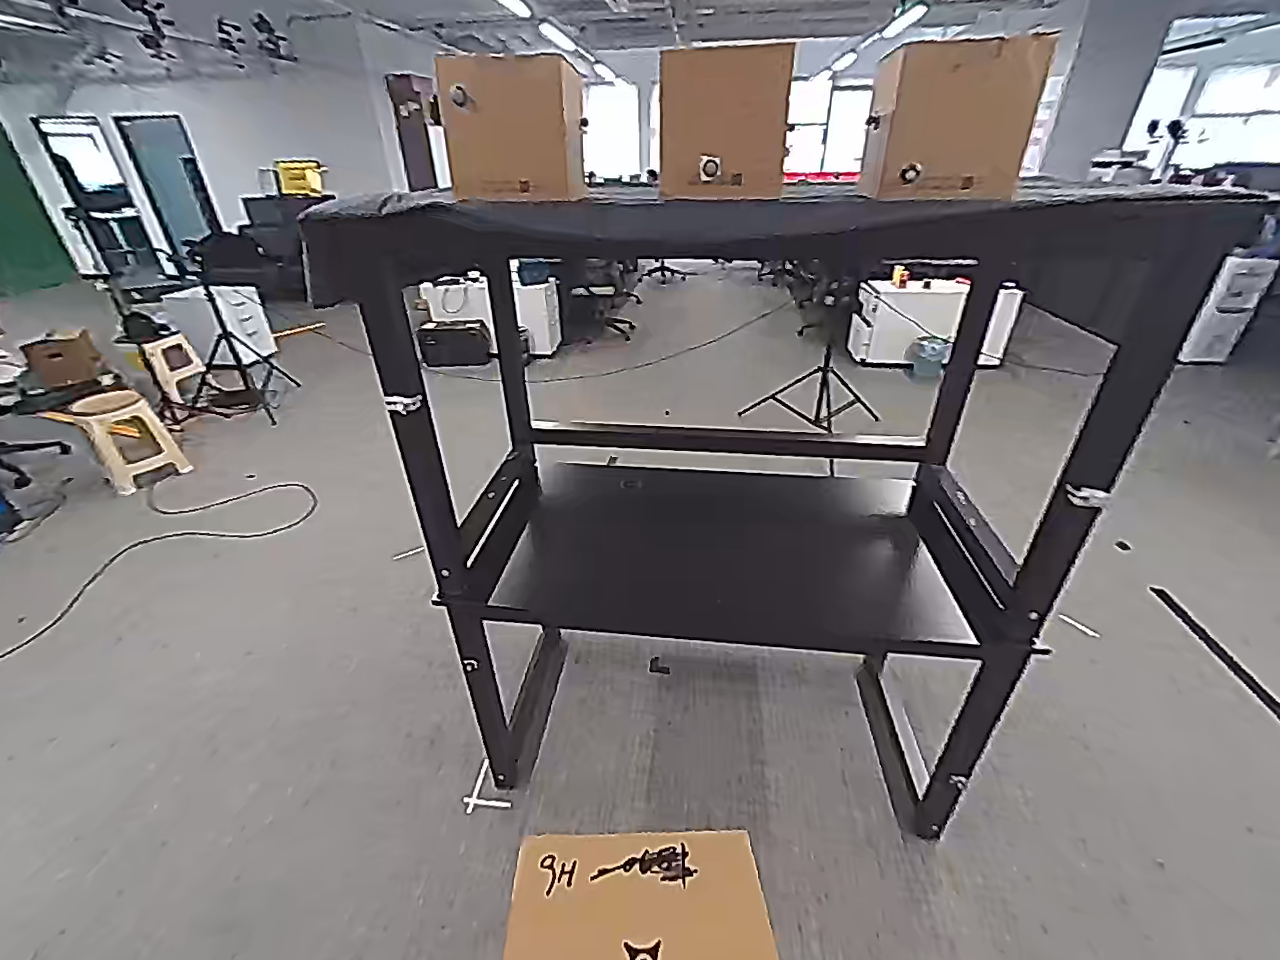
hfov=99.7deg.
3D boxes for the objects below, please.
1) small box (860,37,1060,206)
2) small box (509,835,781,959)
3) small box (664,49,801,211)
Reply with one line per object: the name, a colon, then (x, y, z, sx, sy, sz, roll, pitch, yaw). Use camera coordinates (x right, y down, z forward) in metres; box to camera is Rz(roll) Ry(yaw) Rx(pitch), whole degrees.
small box: (0.406, -0.464, 0.724, 0.168, 0.176, 0.179, 4, 30, 8)
small box: (0.002, 0.365, 0.341, 0.168, 0.176, 0.179, 1, 25, -4)
small box: (0.124, -0.474, 0.750, 0.168, 0.176, 0.179, 3, 30, 9)
